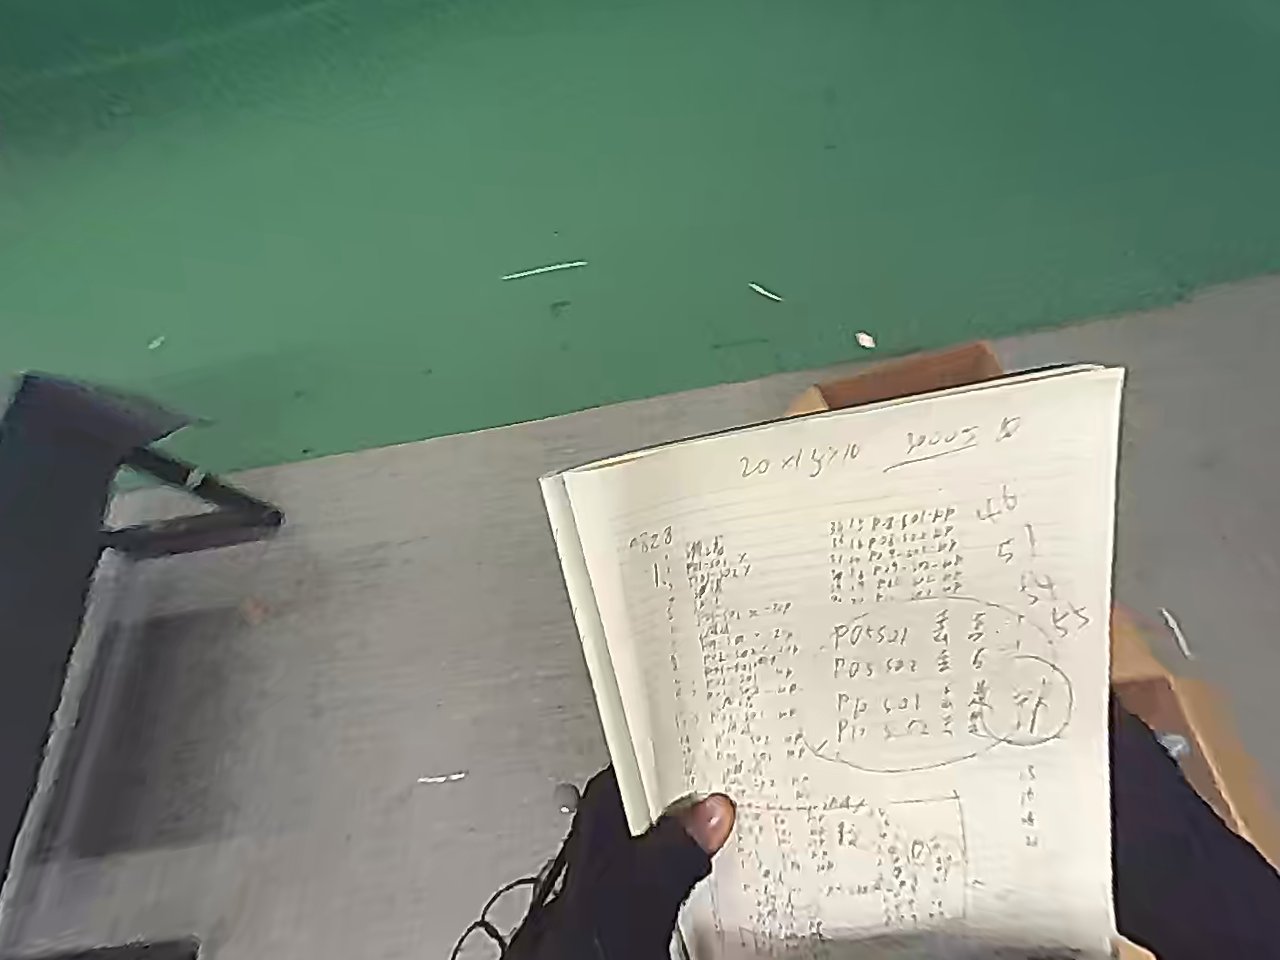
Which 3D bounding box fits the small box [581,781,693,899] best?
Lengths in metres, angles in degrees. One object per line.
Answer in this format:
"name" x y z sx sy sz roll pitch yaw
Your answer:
"small box" -0.007 0.763 1.153 0.179 0.176 0.168 -19 66 15
